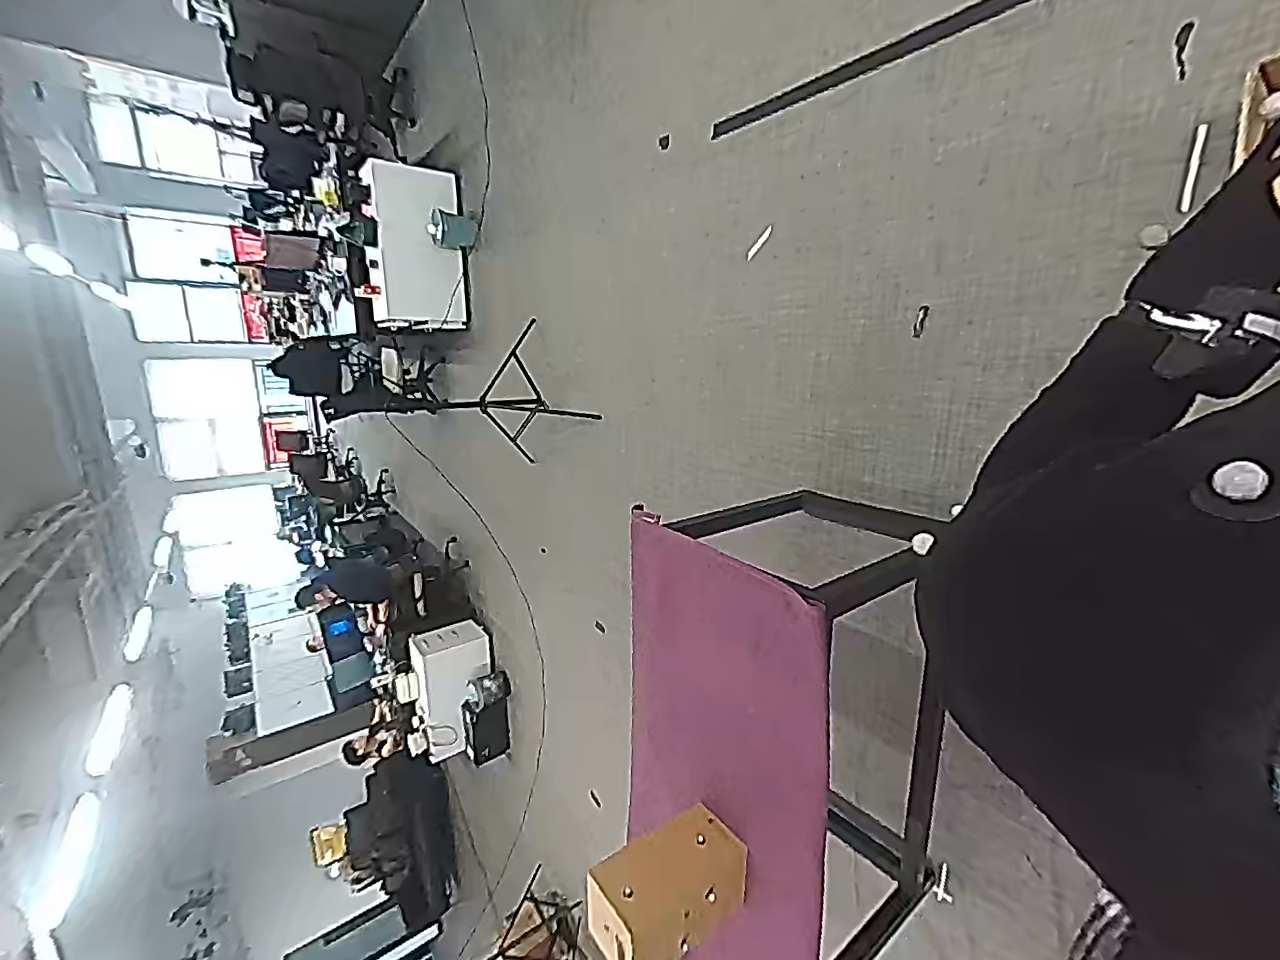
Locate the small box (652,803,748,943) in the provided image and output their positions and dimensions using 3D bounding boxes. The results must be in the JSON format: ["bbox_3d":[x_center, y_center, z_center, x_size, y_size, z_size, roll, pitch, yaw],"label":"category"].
[{"bbox_3d":[0.142,0.925,1.293,0.168,0.176,0.179,19,113,52],"label":"small box"}]

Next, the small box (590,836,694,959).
[{"bbox_3d":[0.005,0.946,1.204,0.179,0.176,0.168,17,111,52],"label":"small box"}]
